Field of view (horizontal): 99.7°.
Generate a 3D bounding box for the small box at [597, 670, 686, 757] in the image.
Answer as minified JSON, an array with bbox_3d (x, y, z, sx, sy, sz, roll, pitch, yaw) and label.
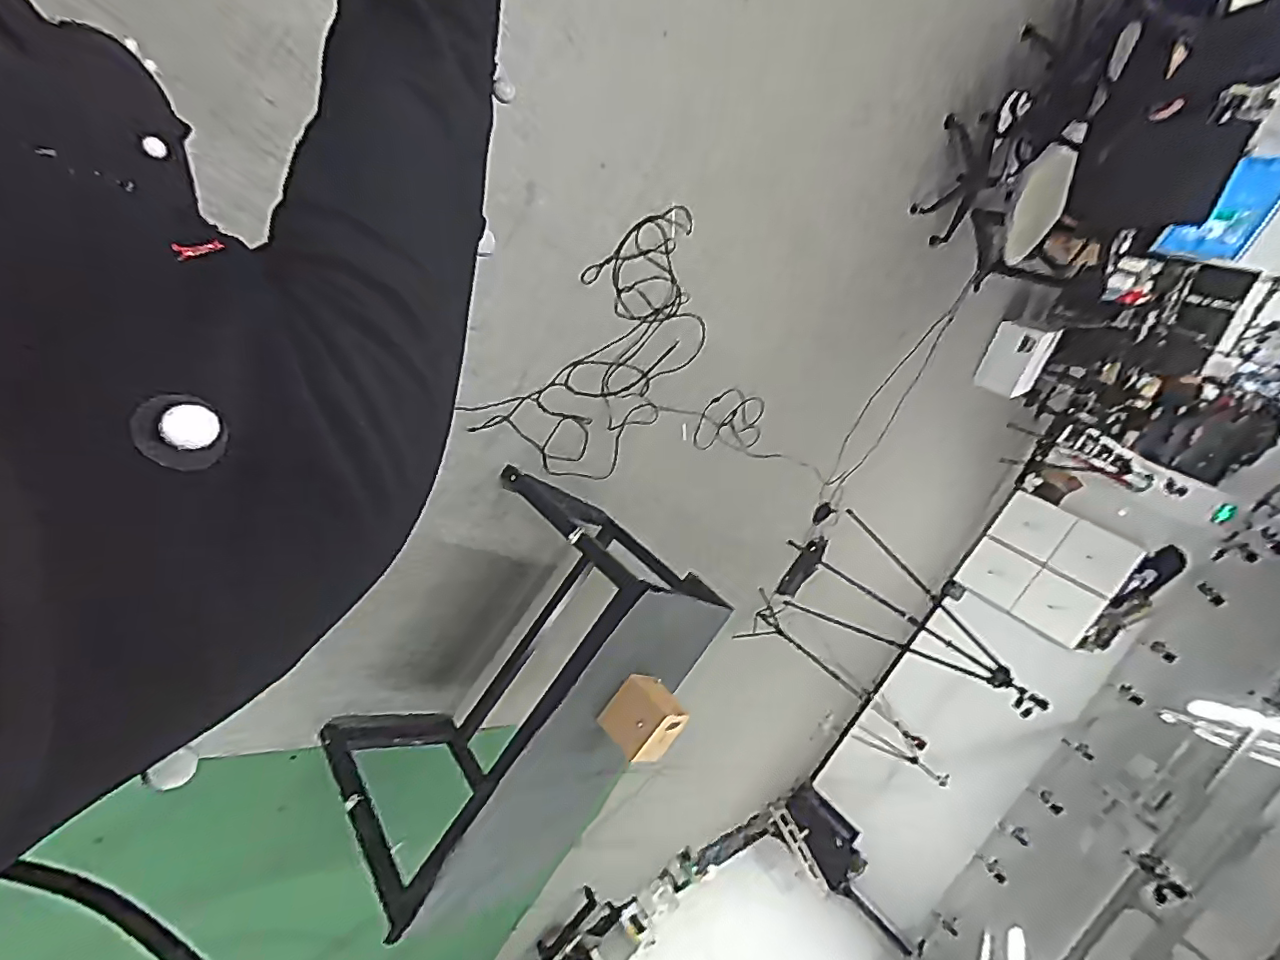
[{"bbox_3d":[0.002,0.700,1.631,0.179,0.176,0.168,-53,143,0],"label":"small box"}]
